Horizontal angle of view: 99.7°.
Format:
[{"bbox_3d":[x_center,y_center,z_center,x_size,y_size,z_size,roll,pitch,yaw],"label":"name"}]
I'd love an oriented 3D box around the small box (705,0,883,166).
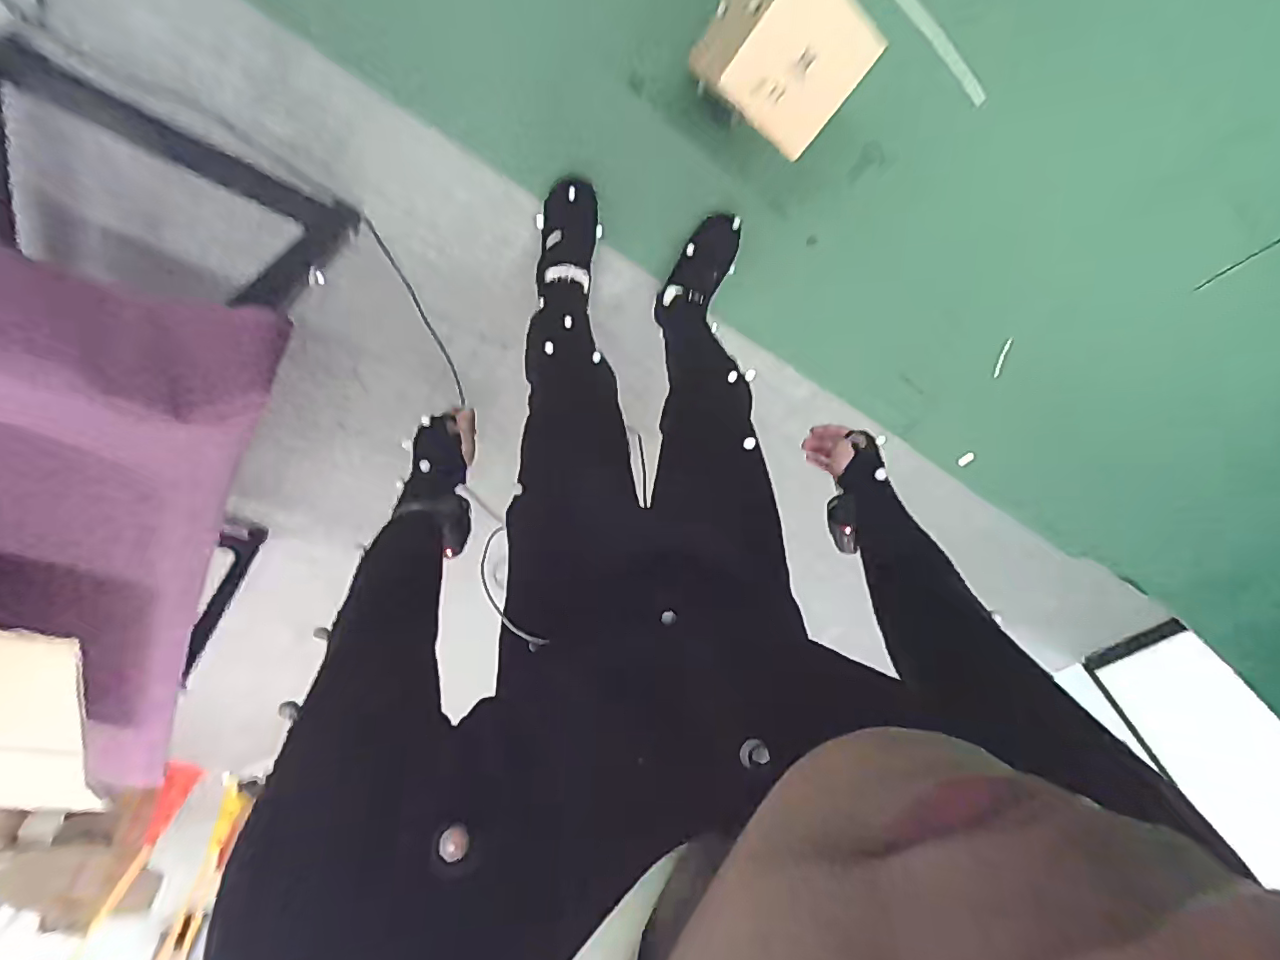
[{"bbox_3d":[0.217,-0.623,0.815,0.168,0.176,0.179,28,123,-26],"label":"small box"}]
